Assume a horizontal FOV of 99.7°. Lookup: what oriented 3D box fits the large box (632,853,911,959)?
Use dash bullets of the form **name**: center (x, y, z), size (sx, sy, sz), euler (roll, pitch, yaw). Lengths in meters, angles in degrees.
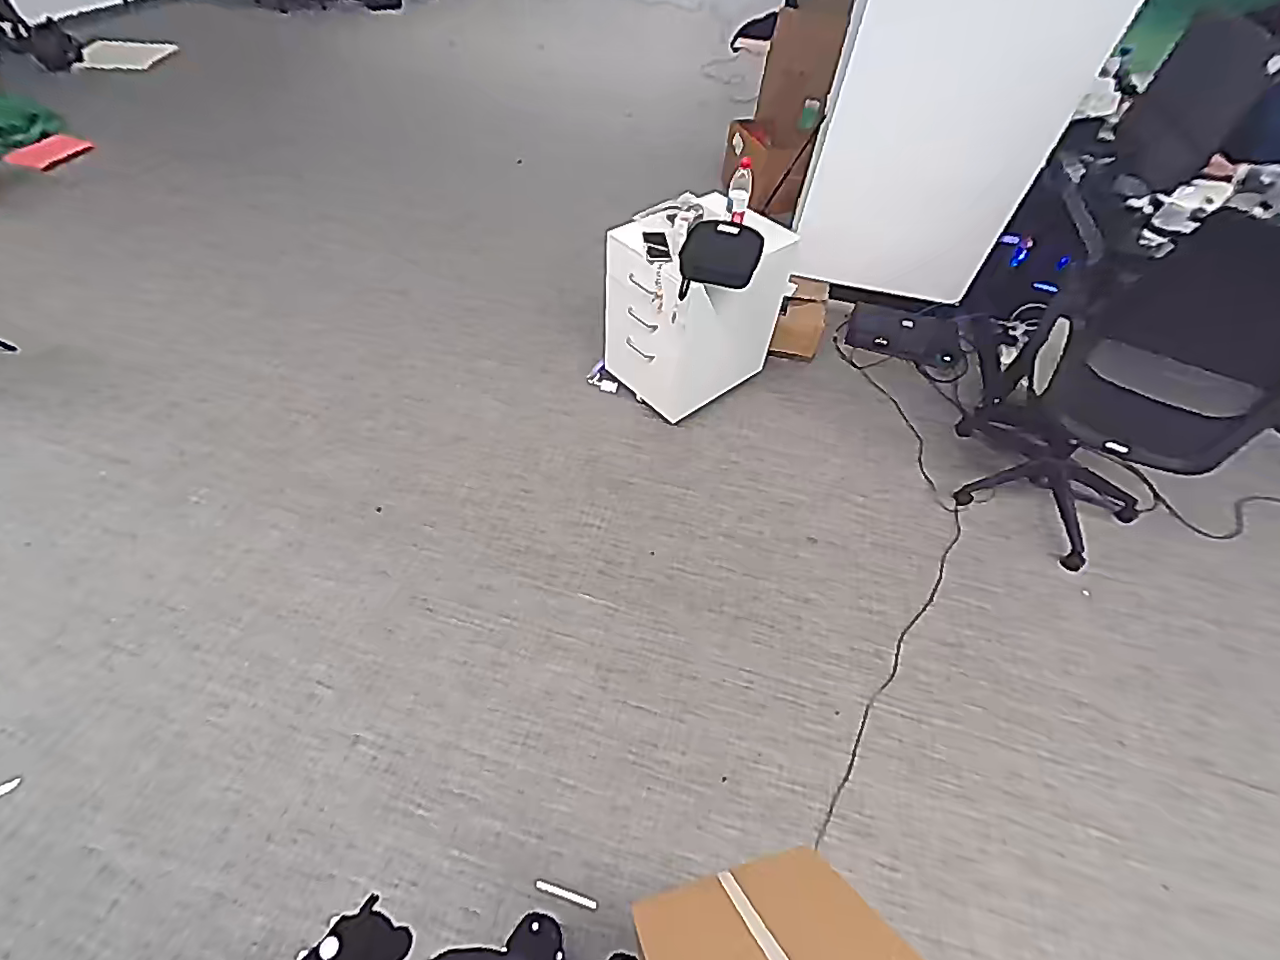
- **large box**: center (0.199, 0.763, 0.666), size (0.320, 0.408, 0.320), euler (-9, 84, -13)
